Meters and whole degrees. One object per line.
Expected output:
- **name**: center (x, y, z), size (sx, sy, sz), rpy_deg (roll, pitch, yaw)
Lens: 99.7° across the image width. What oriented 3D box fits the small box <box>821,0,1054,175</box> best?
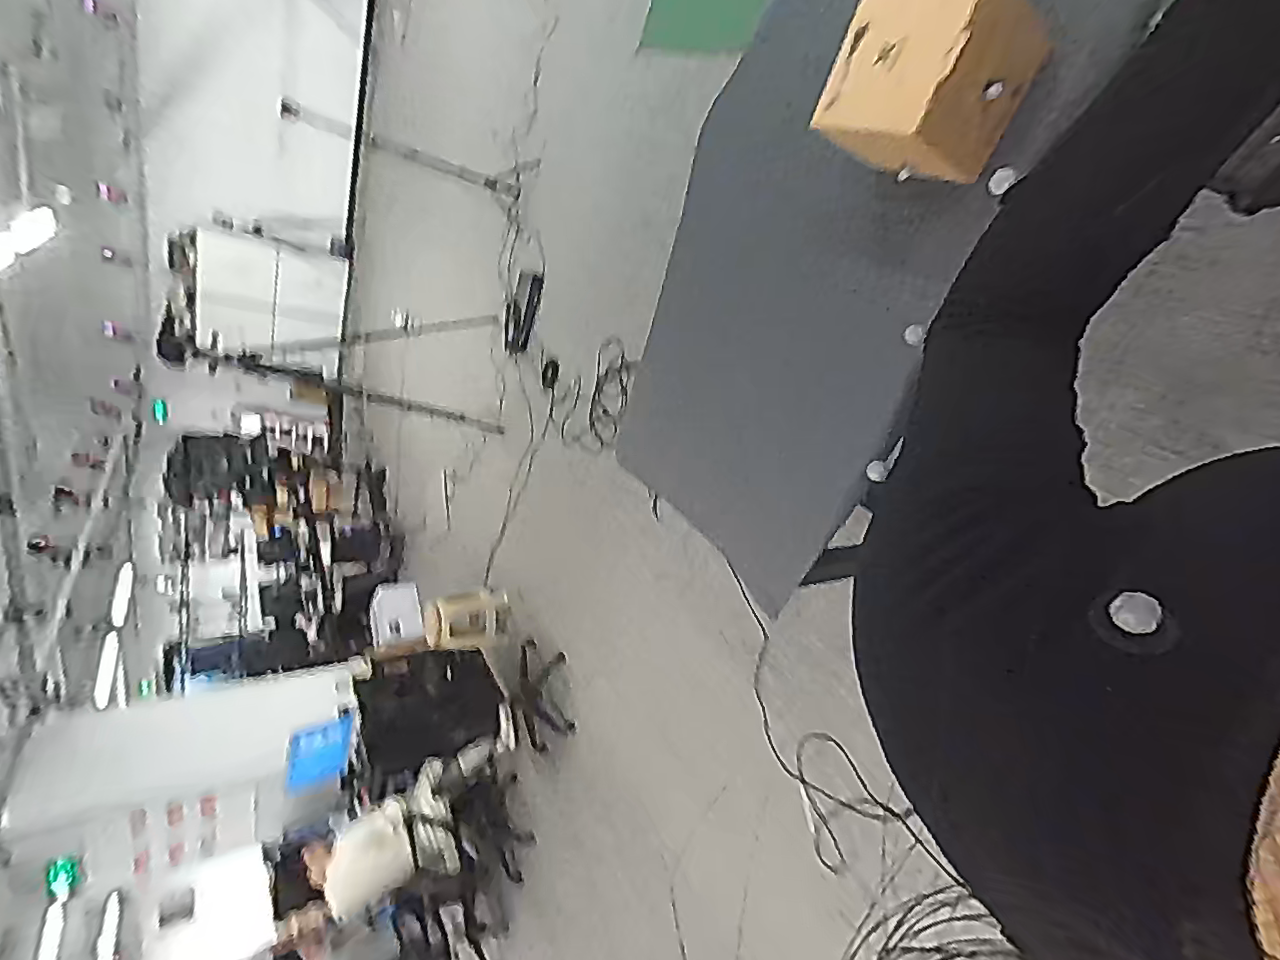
- **small box**: center (0.382, -0.519, 0.704), size (0.179, 0.176, 0.168), rpy_deg (48, 126, 43)
